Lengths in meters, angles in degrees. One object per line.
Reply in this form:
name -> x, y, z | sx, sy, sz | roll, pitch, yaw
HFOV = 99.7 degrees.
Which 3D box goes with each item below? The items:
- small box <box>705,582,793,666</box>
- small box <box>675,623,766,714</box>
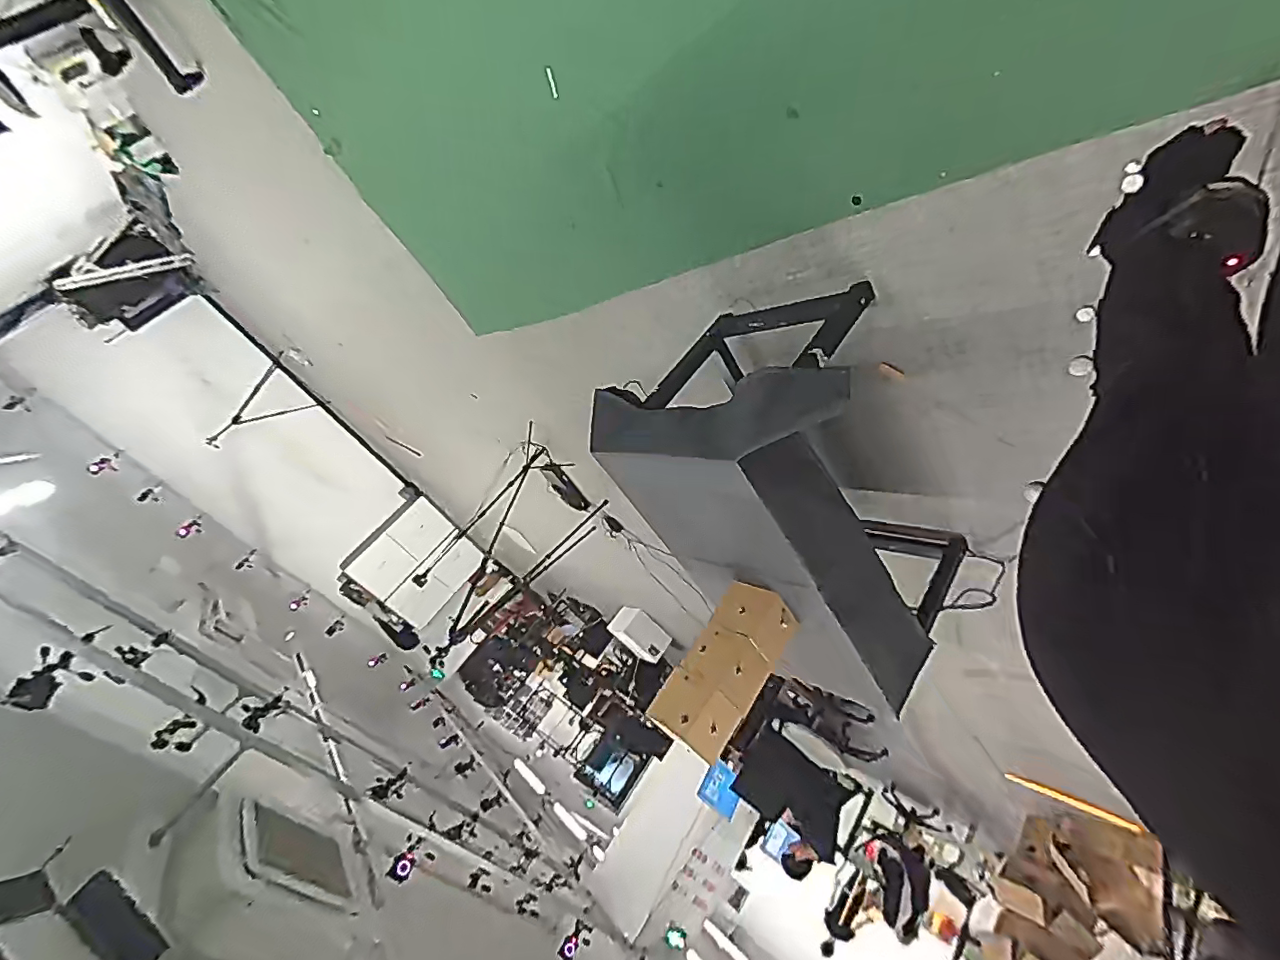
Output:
small box -> 0.340, 0.438, 1.675 | 0.179, 0.176, 0.168 | 7, 141, 51
small box -> 0.244, 0.556, 1.616 | 0.168, 0.176, 0.179 | 7, 141, 54
